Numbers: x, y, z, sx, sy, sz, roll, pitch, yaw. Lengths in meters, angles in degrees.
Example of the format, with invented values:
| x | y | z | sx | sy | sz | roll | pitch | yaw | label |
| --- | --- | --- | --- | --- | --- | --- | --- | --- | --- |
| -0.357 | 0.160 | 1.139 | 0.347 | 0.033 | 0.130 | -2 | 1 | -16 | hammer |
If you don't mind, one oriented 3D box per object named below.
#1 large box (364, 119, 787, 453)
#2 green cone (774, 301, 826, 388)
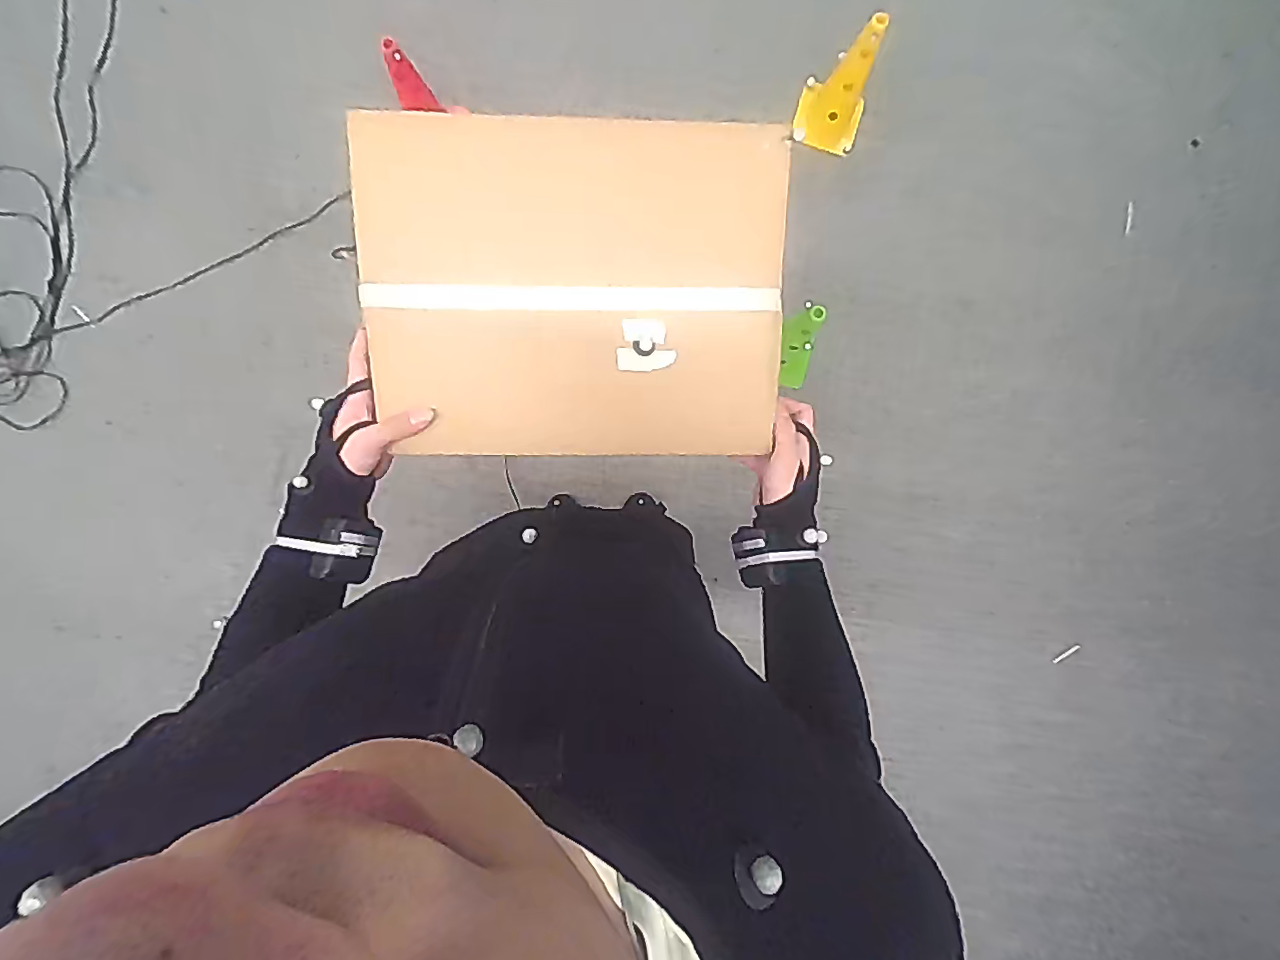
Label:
| x | y | z | sx | sy | sz | roll | pitch | yaw | label |
| --- | --- | --- | --- | --- | --- | --- | --- | --- | --- |
| -0.067 | -0.213 | 0.681 | 0.408 | 0.320 | 0.320 | 0 | 103 | -4 | large box |
| 0.434 | -0.406 | 1.506 | 0.200 | 0.368 | 0.202 | 14 | 87 | -2 | green cone |
